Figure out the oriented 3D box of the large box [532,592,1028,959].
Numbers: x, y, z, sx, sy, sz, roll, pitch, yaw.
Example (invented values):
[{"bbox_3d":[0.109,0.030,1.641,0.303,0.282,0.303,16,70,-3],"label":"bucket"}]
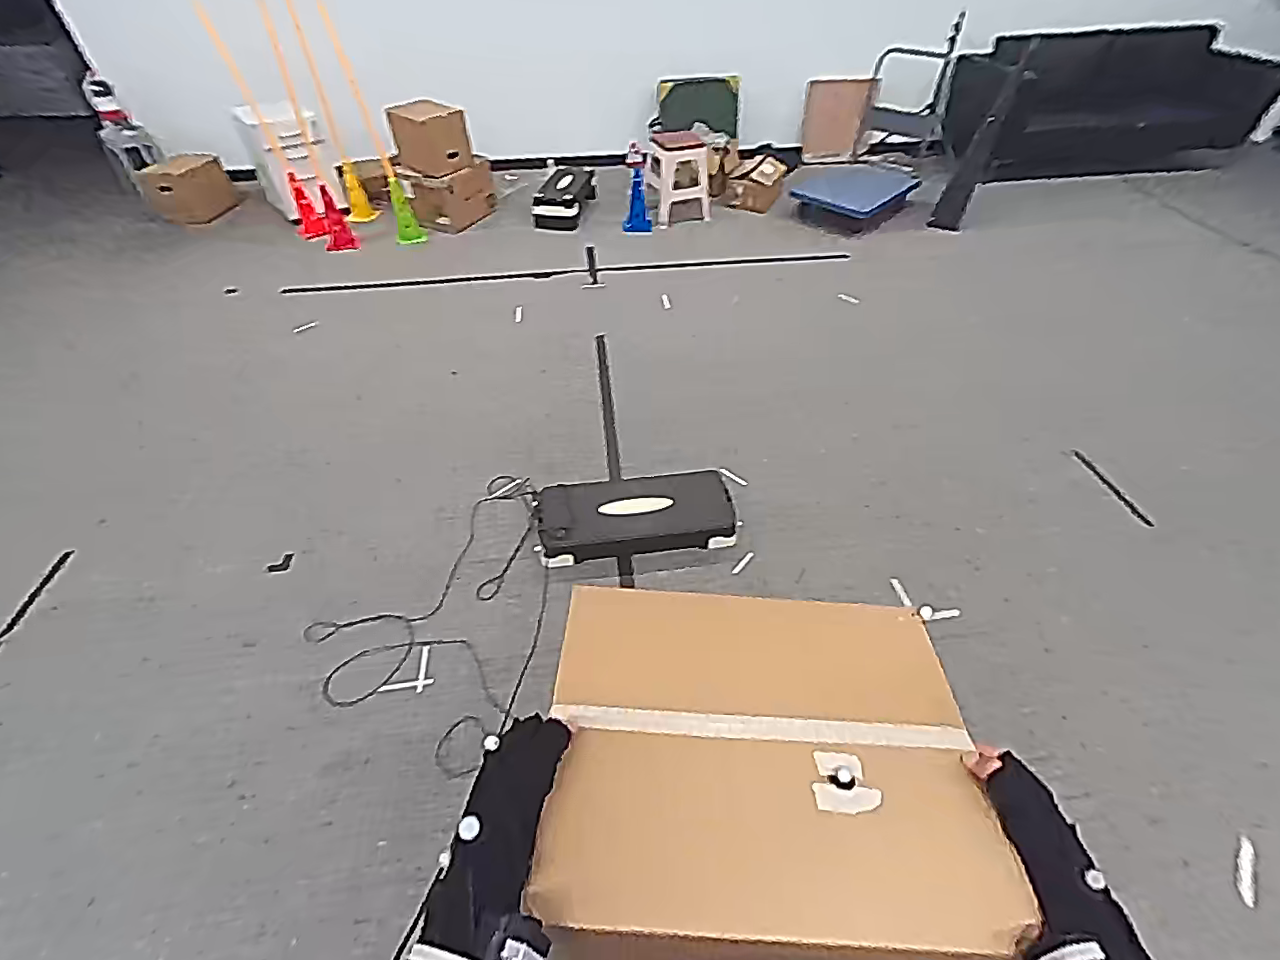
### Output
[{"bbox_3d":[0.107,0.355,0.632,0.408,0.320,0.320,3,41,0],"label":"large box"}]
